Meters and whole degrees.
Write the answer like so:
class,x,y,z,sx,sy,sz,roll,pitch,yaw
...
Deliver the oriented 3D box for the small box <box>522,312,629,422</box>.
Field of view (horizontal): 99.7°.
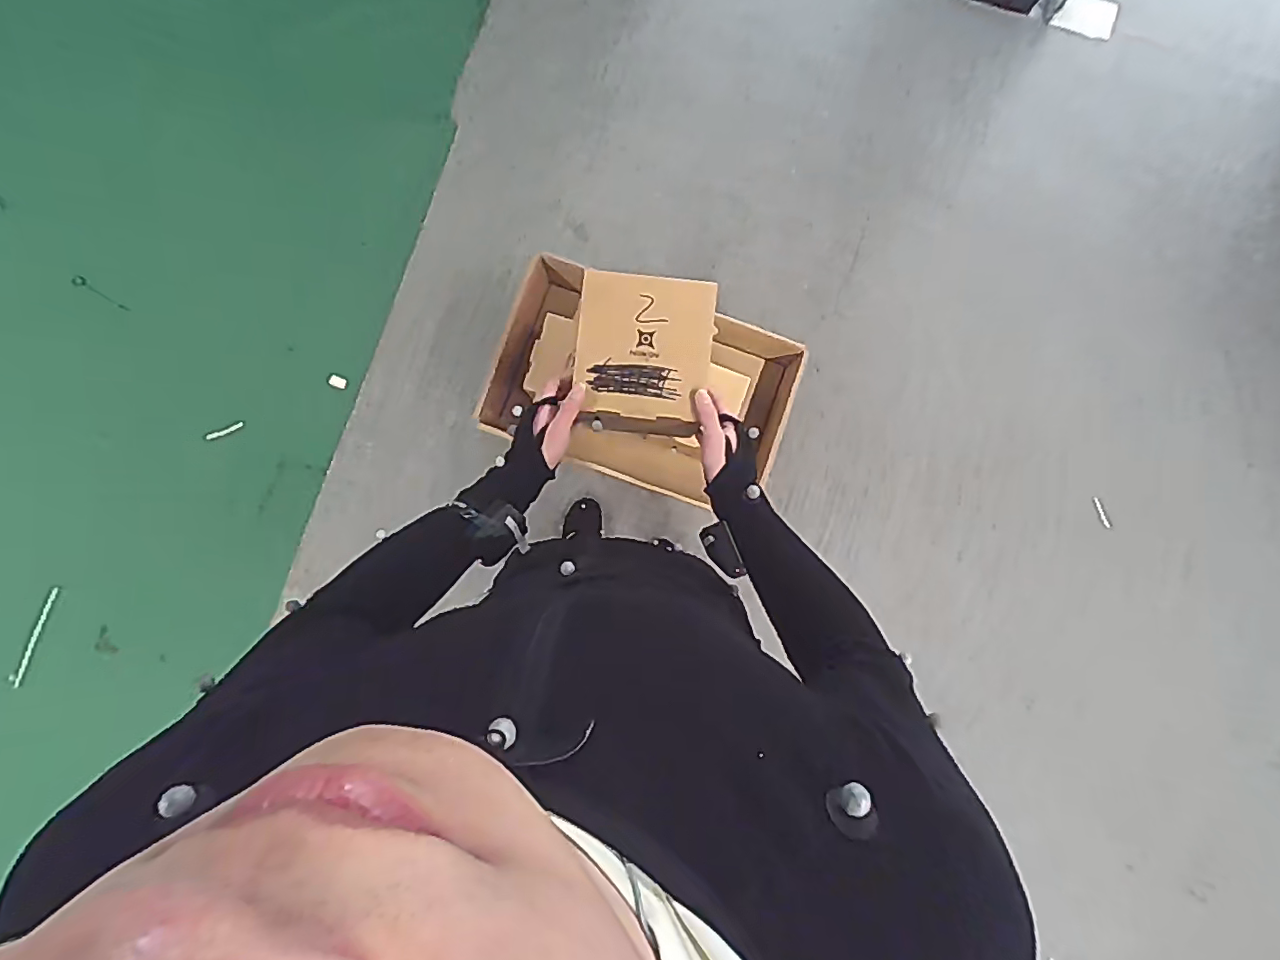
class,x,y,z,sx,sy,sz,roll,pitch,yaw
small box,-0.132,-0.235,1.169,0.179,0.176,0.168,19,87,-1
